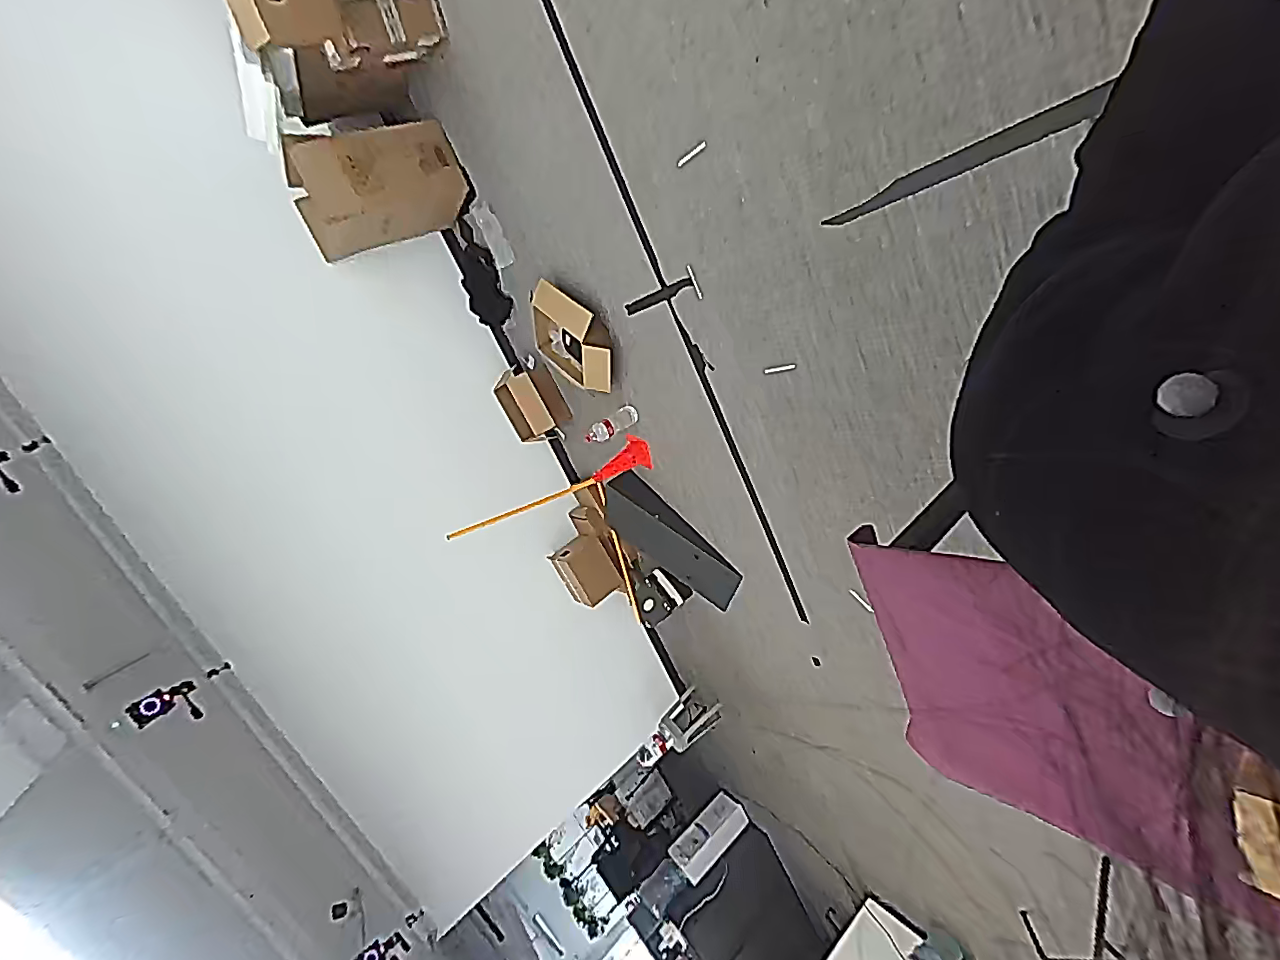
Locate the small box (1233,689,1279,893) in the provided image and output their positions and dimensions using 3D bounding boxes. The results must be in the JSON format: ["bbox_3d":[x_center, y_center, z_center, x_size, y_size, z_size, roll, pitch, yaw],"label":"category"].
[{"bbox_3d":[0.804,0.376,0.602,0.168,0.176,0.179,6,126,57],"label":"small box"}]
